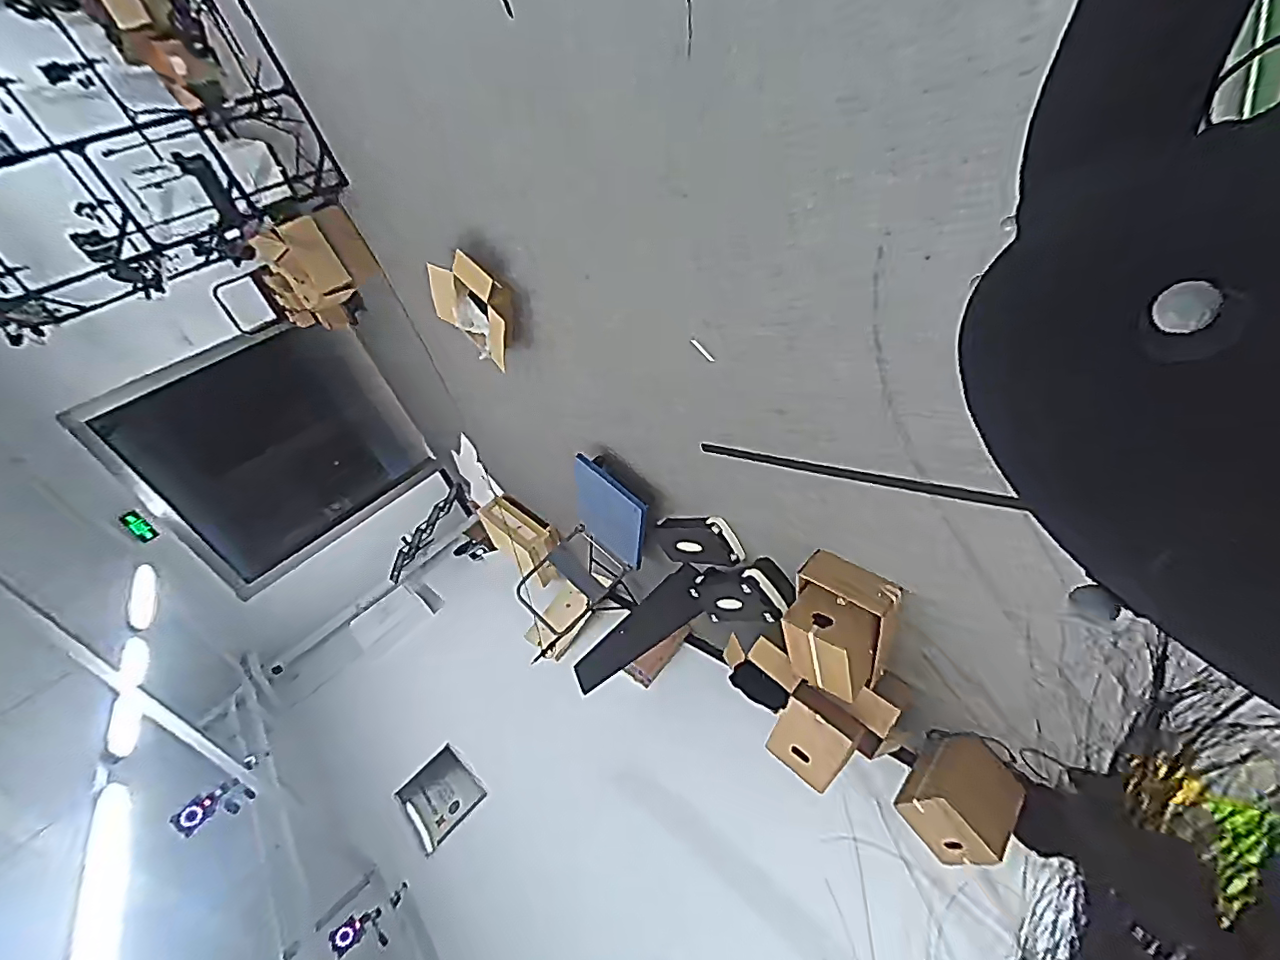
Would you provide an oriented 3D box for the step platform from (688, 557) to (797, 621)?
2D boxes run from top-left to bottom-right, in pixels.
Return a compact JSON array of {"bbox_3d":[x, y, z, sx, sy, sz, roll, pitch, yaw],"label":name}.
[{"bbox_3d":[0.552,0.634,3.056,0.286,0.204,0.684,51,152,-4],"label":"step platform"}]
